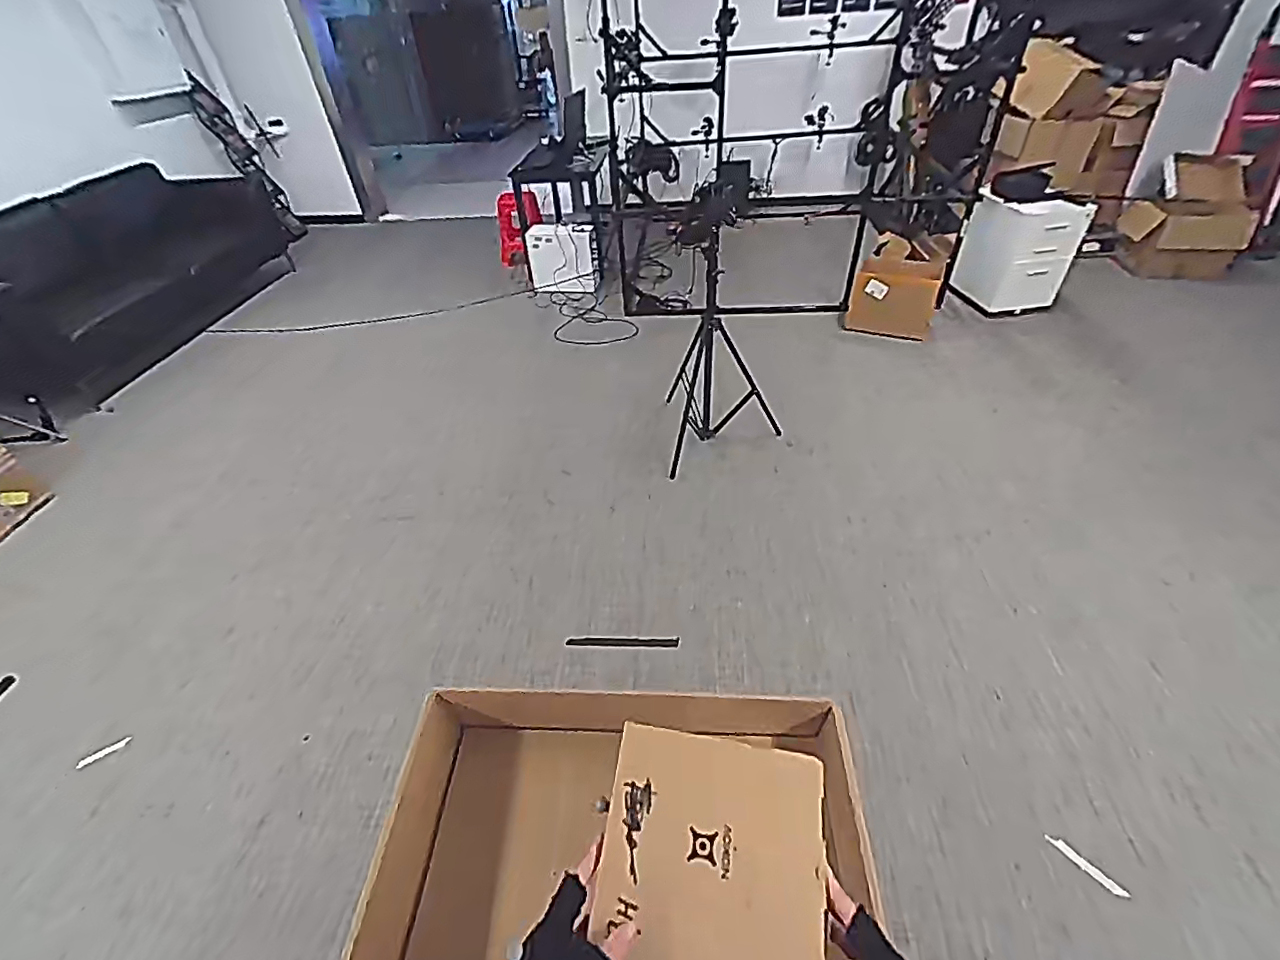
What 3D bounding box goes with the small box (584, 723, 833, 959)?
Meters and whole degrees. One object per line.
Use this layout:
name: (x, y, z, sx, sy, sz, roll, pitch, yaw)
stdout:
small box: (0.058, 0.339, 0.481, 0.179, 0.176, 0.168, 8, 50, 6)
